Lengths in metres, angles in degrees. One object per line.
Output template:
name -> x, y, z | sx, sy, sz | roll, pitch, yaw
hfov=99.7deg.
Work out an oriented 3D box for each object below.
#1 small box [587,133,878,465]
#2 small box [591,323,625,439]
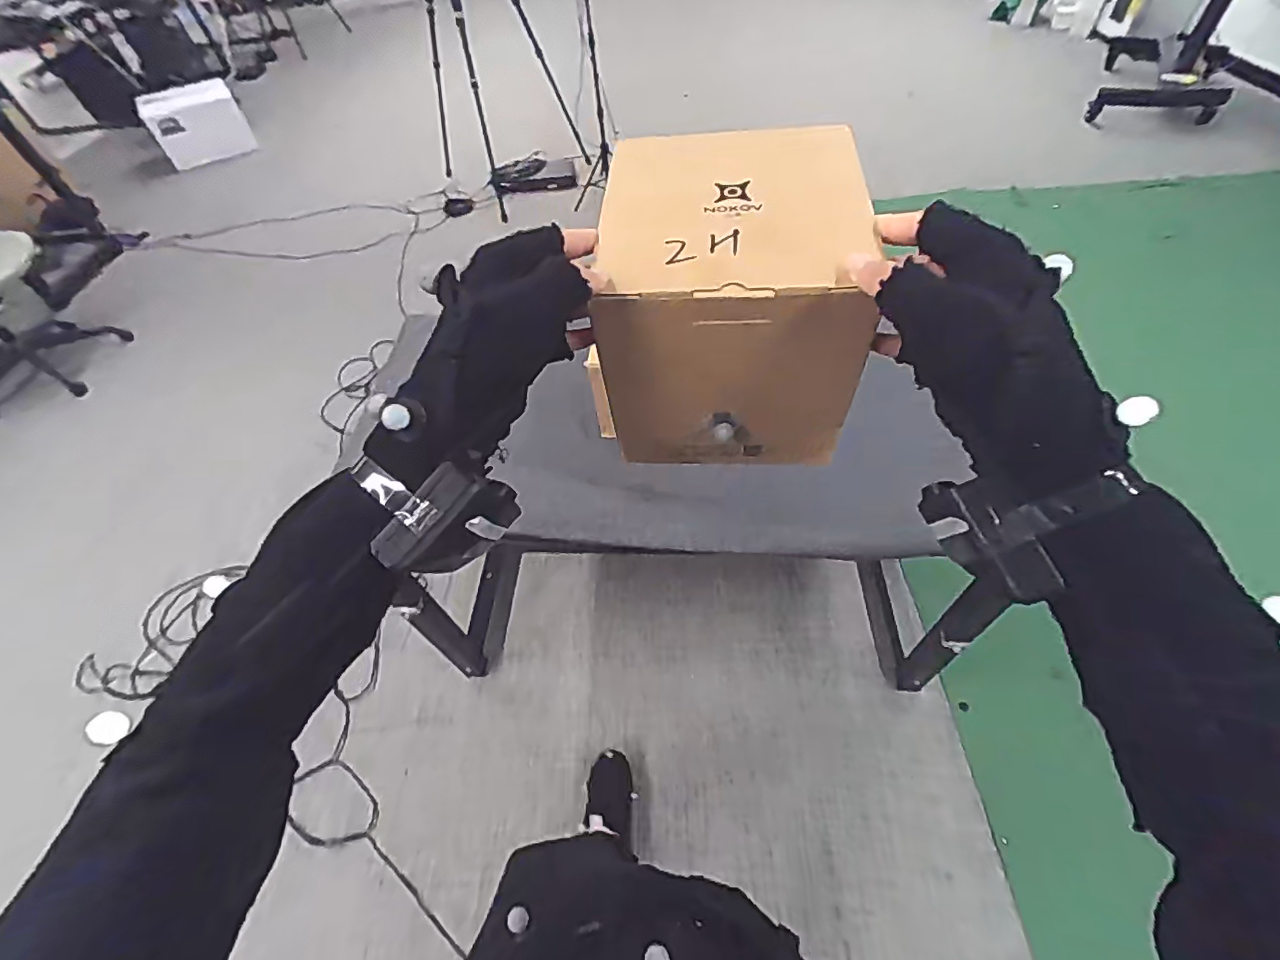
small box -> 0.065, -0.132, 0.414 | 0.168, 0.176, 0.179 | 1, 57, 8
small box -> 0.016, -0.190, 0.950 | 0.168, 0.176, 0.179 | -1, 53, 6
